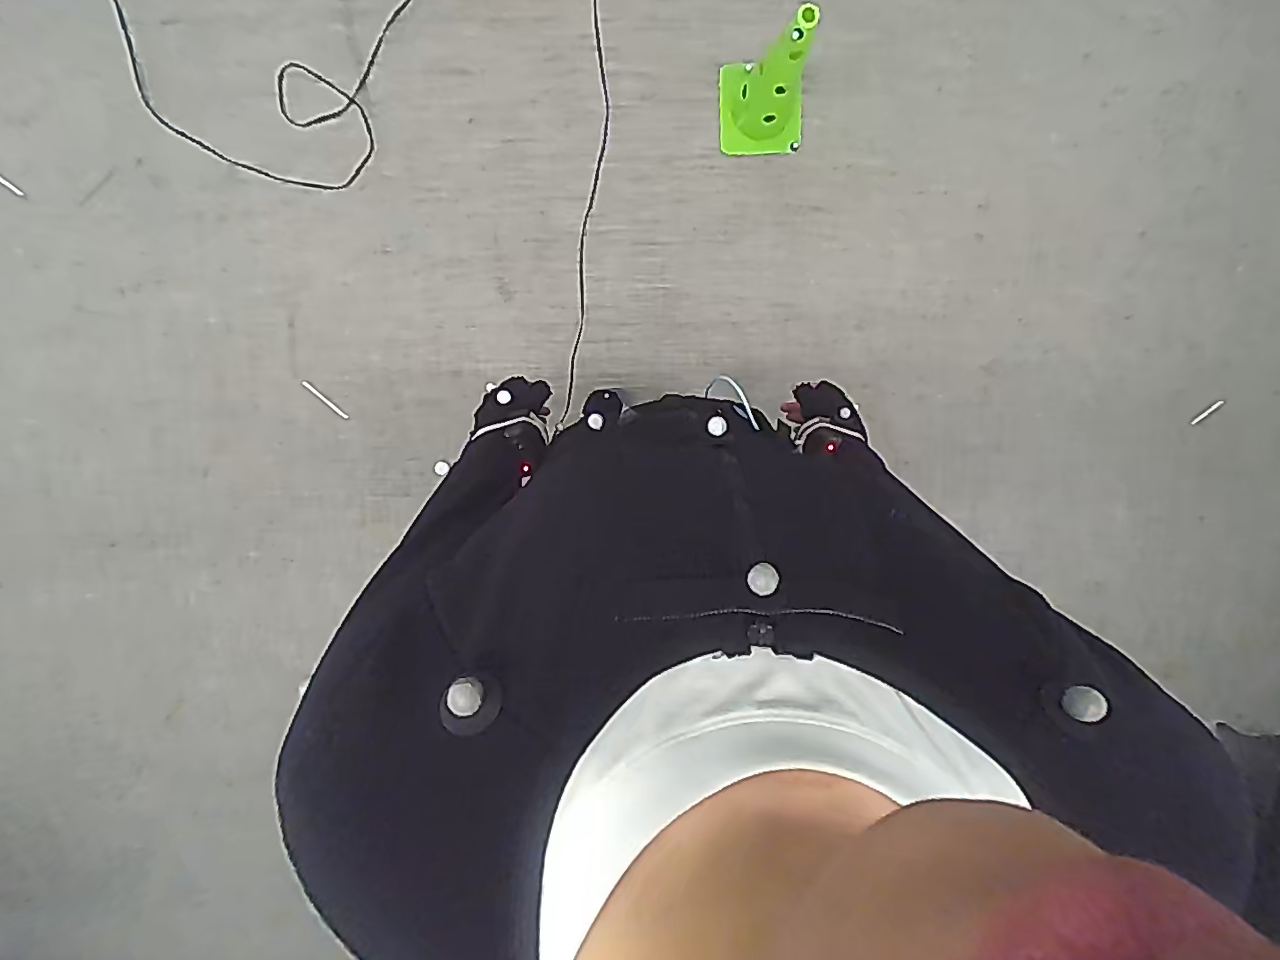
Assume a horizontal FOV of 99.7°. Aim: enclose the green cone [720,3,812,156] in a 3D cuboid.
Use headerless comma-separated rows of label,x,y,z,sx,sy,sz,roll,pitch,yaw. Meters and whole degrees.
green cone,0.297,-0.876,1.151,0.202,0.368,0.200,-3,100,0
